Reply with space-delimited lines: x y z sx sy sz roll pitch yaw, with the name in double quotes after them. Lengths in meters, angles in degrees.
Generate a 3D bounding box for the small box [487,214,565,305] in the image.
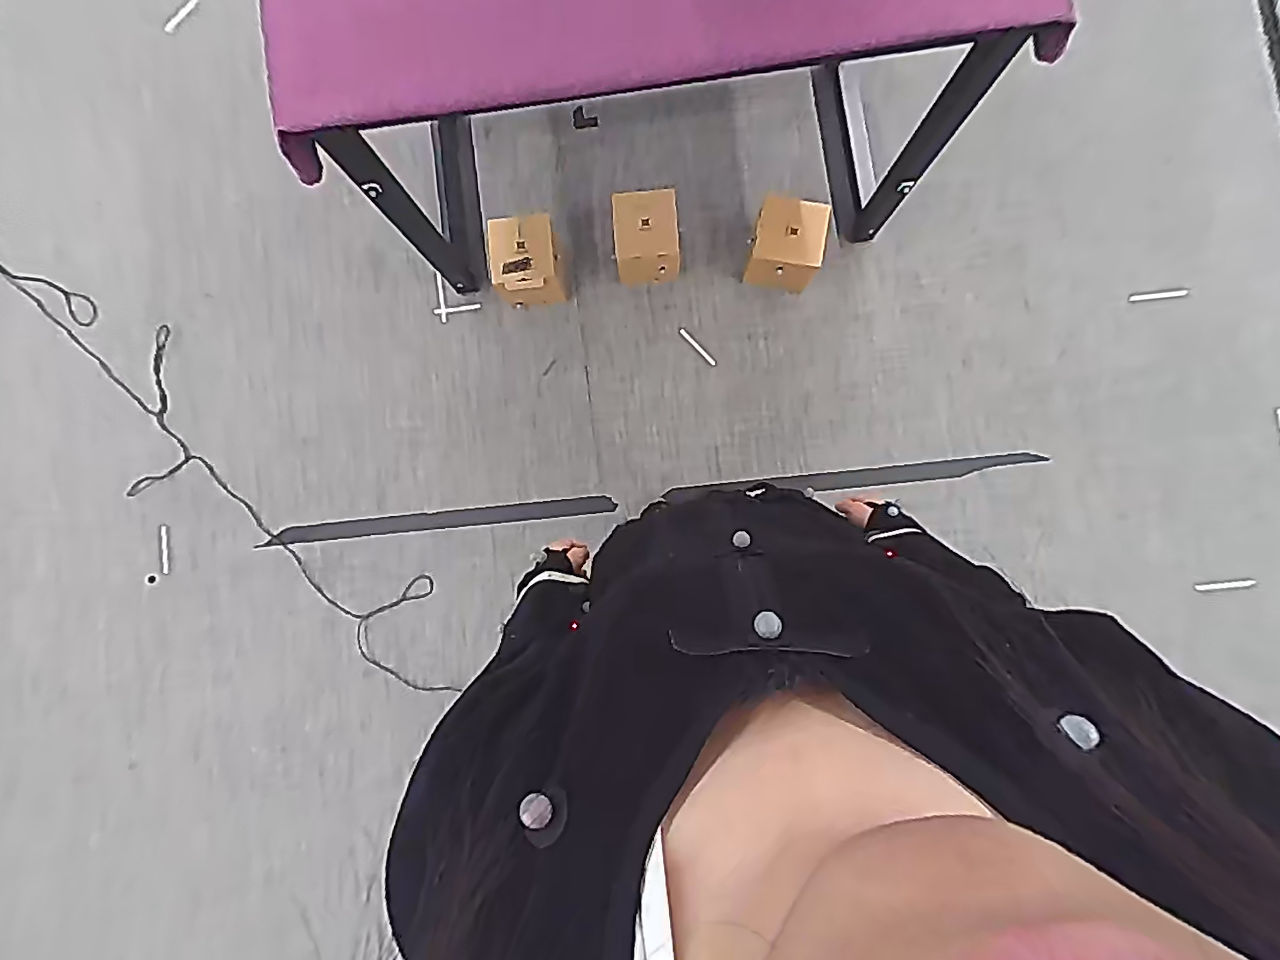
-0.304 -0.591 1.472 0.168 0.176 0.179 -6 86 2 "small box"

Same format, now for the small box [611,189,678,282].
0.014 -0.651 1.466 0.168 0.176 0.179 -5 86 1 "small box"

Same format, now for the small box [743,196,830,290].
0.386 -0.628 1.452 0.179 0.176 0.168 10 88 4 "small box"
